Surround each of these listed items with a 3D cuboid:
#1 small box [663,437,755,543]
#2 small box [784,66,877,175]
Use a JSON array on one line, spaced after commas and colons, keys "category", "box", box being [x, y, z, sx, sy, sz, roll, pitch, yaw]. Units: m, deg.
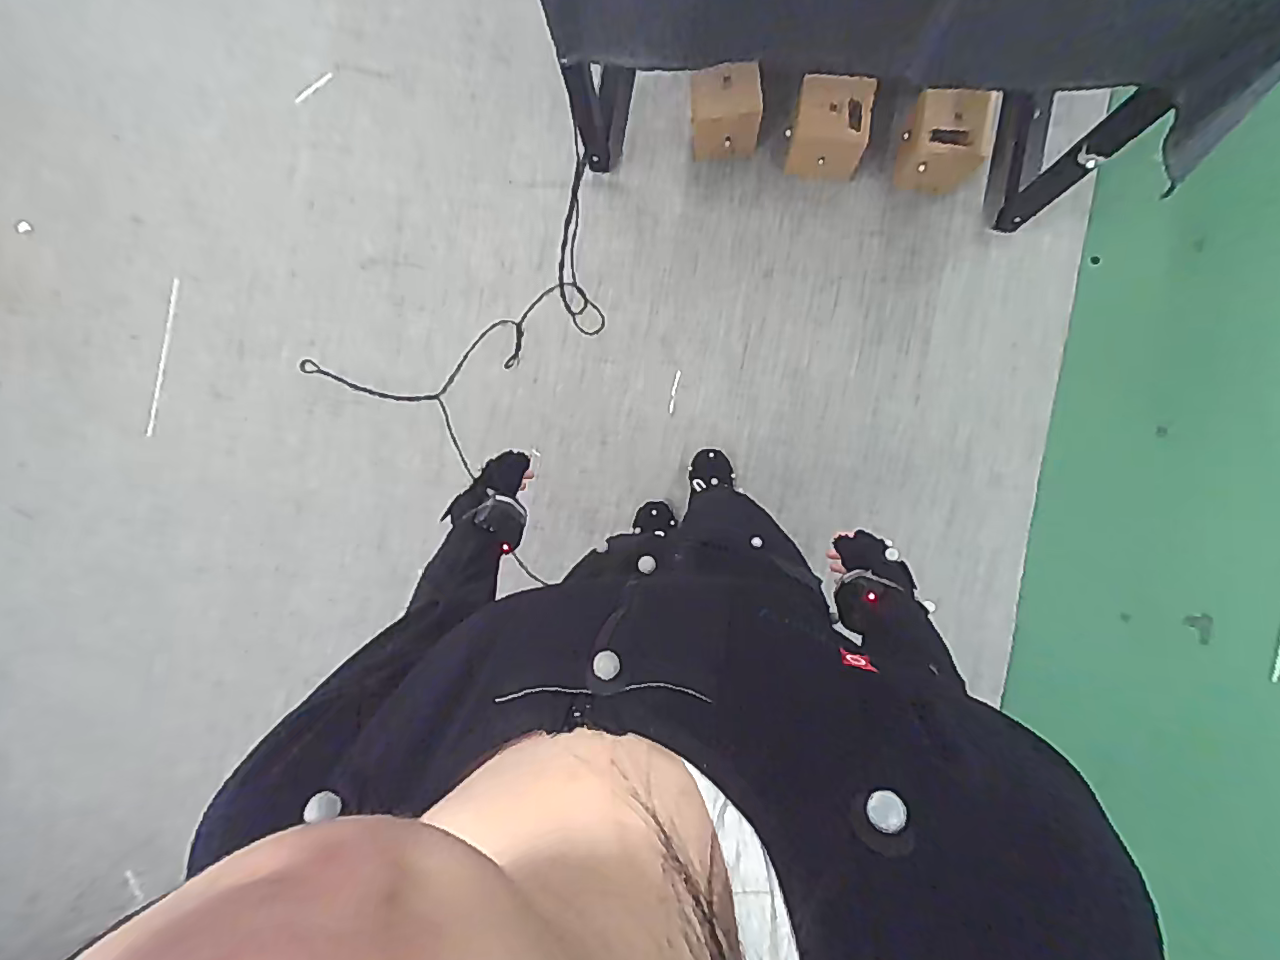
[{"category": "small box", "box": [0.174, 0.028, 1.412, 0.179, 0.176, 0.168, -36, 59, -20]}, {"category": "small box", "box": [0.484, -0.917, 1.394, 0.179, 0.176, 0.168, 8, 90, 5]}]
